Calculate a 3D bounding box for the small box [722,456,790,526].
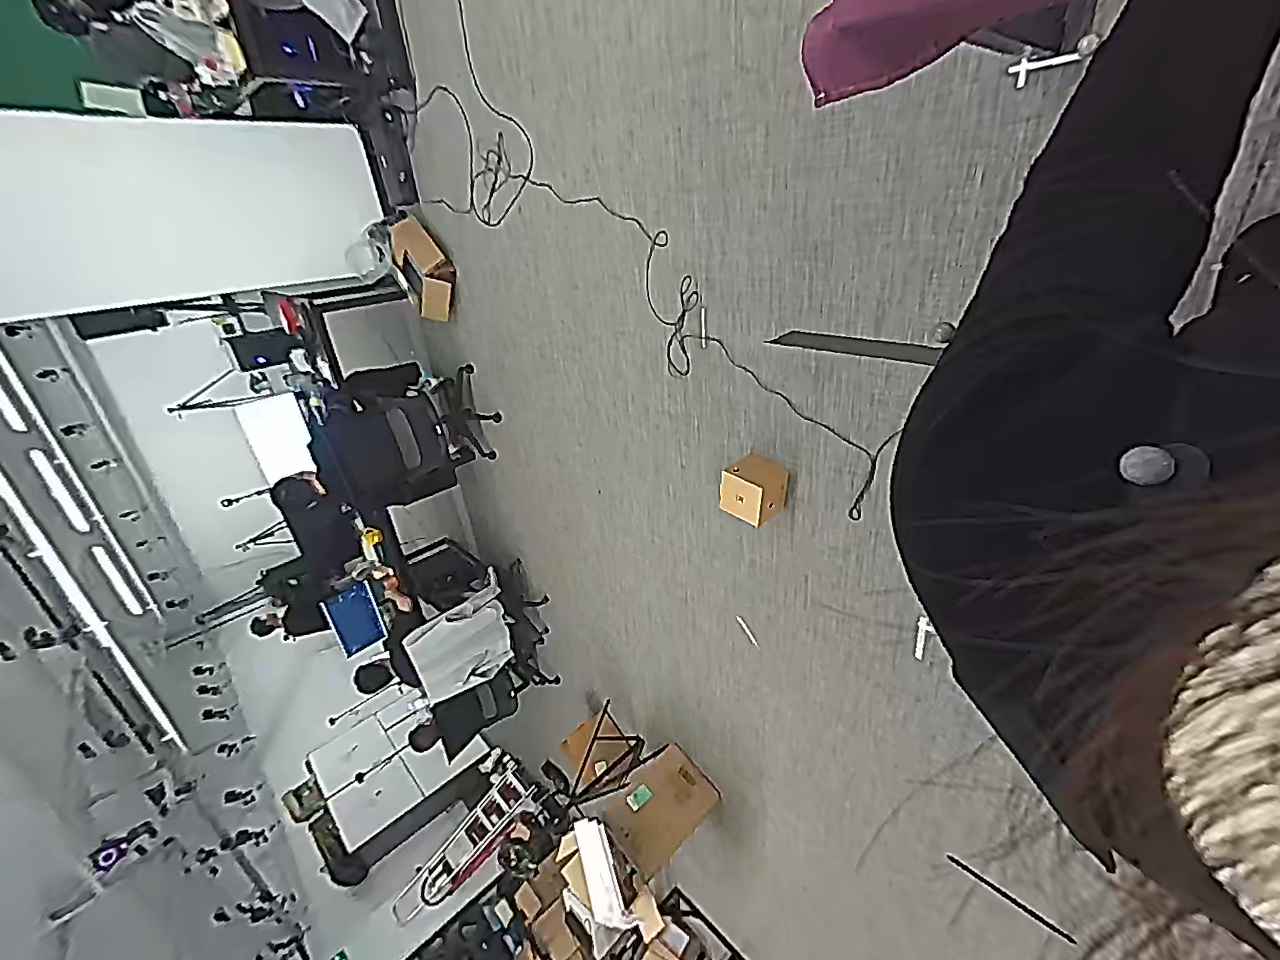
[{"bbox_3d":[0.417,0.032,1.940,0.179,0.176,0.168,29,133,39],"label":"small box"}]
